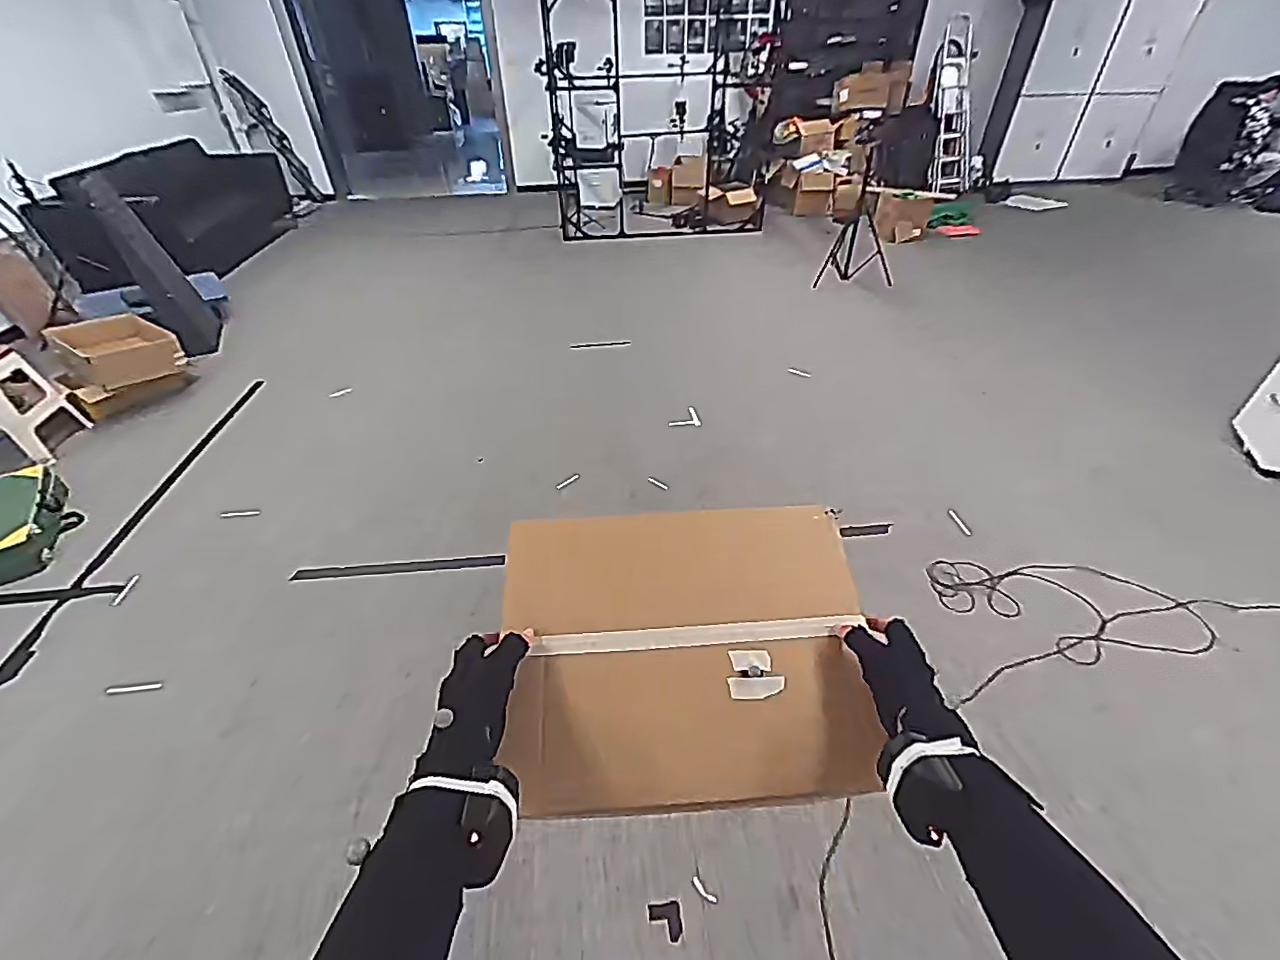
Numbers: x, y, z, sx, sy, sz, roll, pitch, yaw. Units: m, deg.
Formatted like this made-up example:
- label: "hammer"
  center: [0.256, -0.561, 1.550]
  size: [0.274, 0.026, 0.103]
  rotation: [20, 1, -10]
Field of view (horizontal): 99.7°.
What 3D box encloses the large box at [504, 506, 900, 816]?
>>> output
- label: "large box"
  center: [0.050, 0.254, 0.733]
  size: [0.408, 0.320, 0.320]
  rotation: [-3, 58, -3]
